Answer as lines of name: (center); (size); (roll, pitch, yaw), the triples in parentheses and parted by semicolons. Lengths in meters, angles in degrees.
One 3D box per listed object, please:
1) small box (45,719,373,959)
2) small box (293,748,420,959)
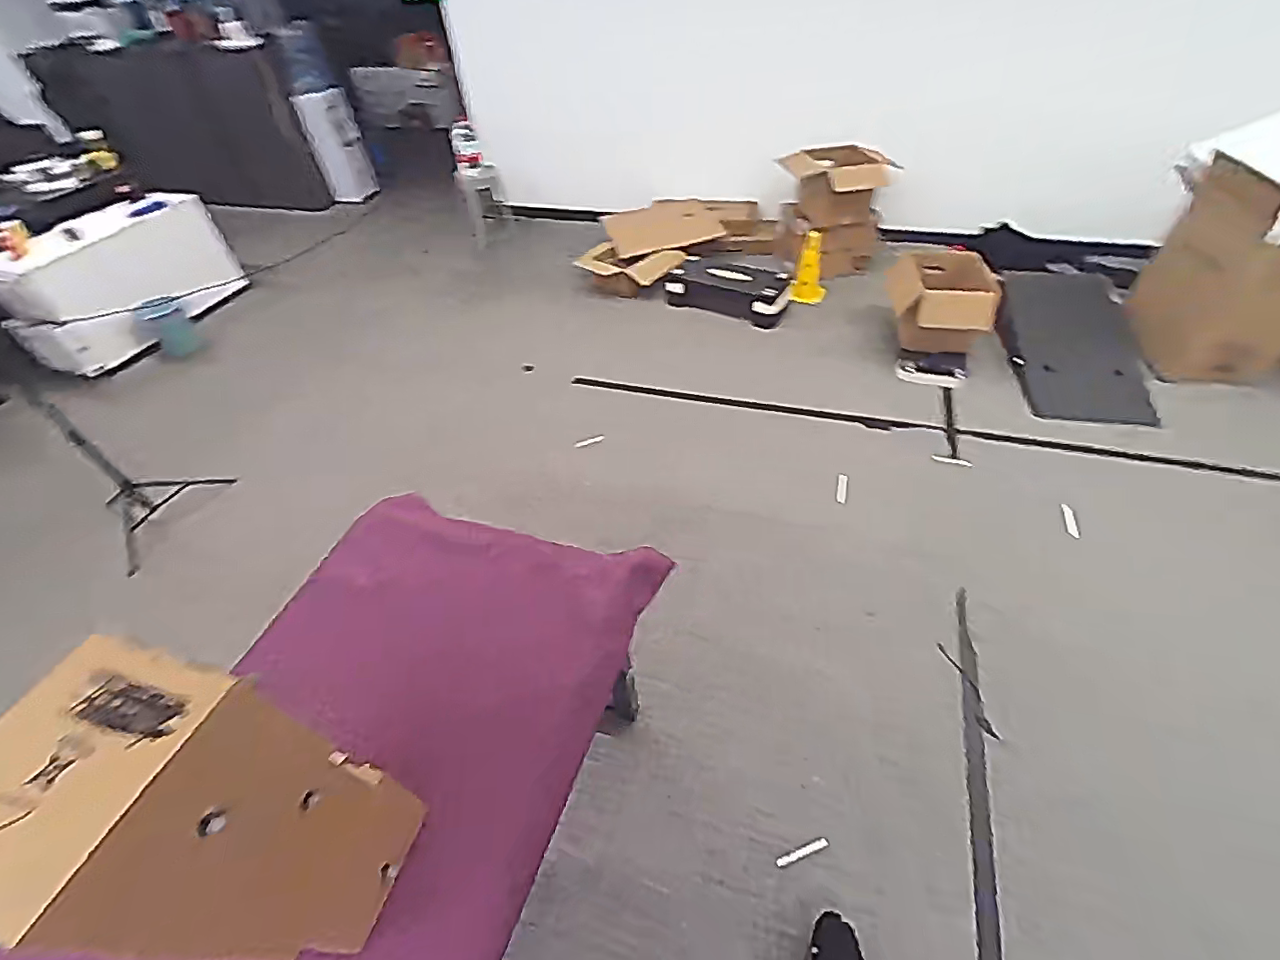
small box: (-0.423, 0.387, 0.571); (0.168, 0.176, 0.179); (8, 47, 13)
small box: (-0.415, 0.485, 0.703); (0.168, 0.176, 0.179); (7, 47, 14)
